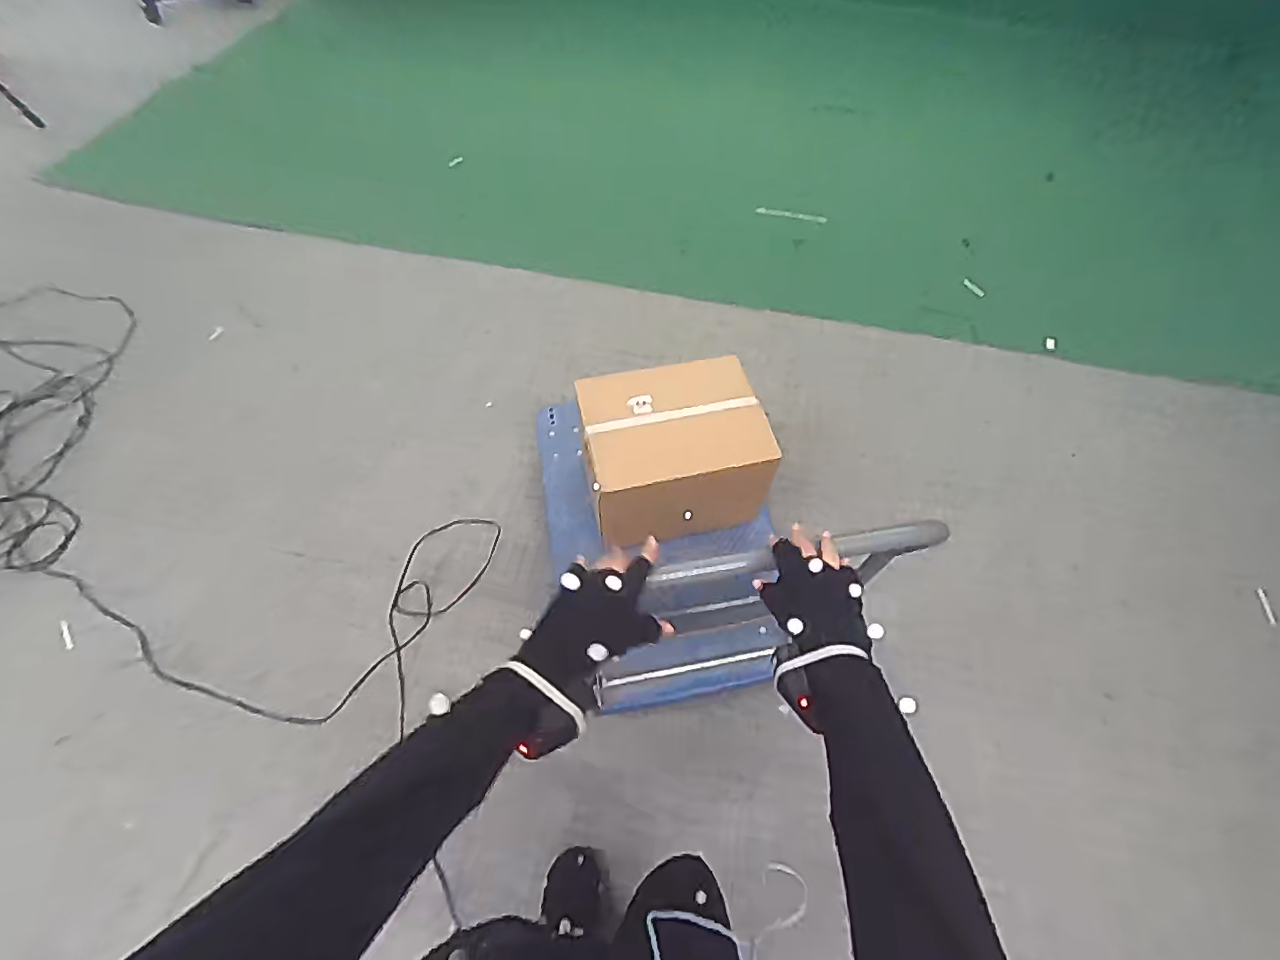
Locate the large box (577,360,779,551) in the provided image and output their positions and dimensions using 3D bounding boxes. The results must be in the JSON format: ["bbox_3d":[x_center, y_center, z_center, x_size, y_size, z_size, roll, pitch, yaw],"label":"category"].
[{"bbox_3d":[0.076,-0.054,1.352,0.408,0.320,0.320,-11,59,-8],"label":"large box"}]
